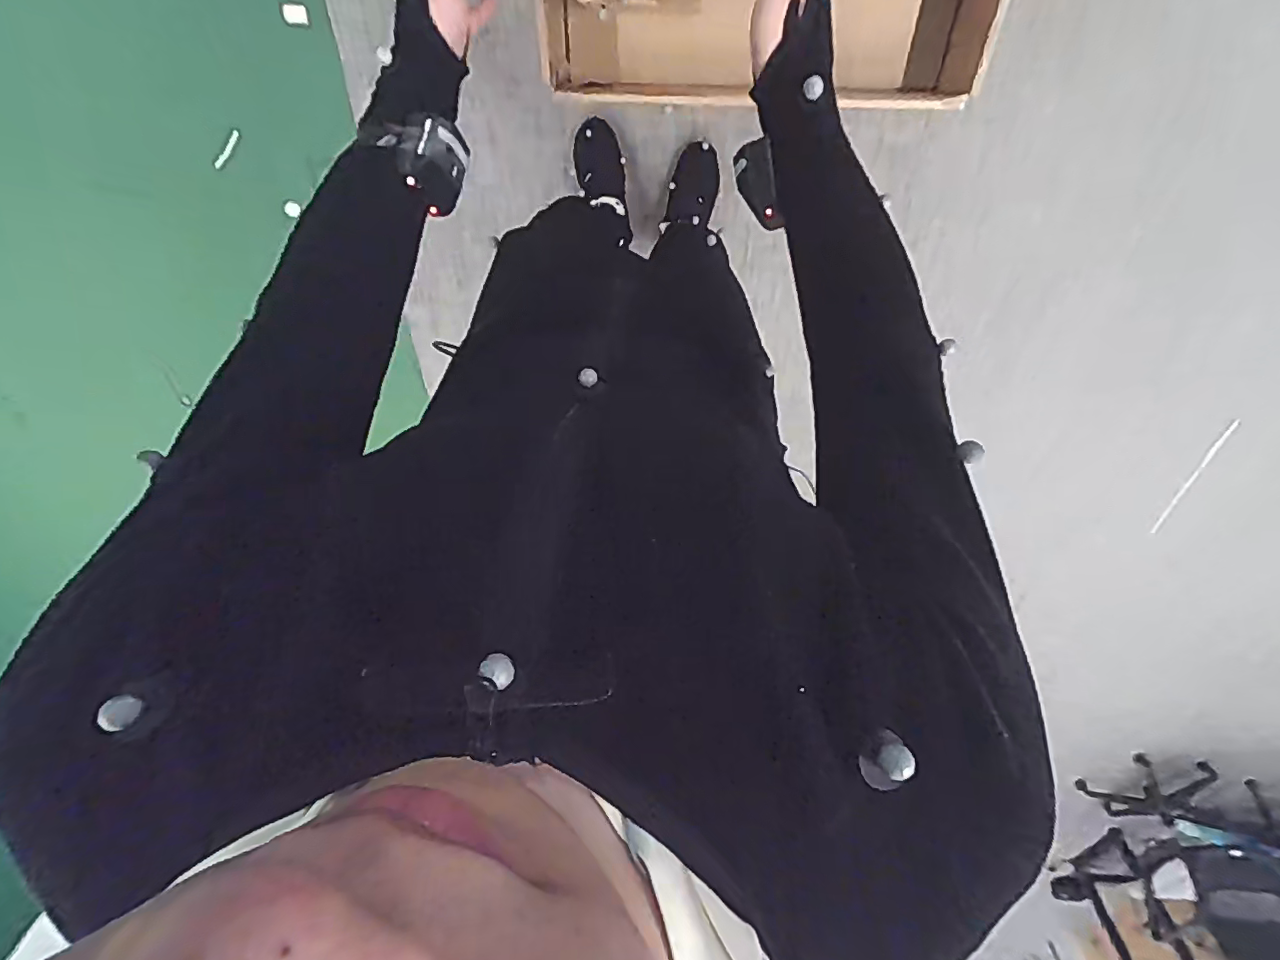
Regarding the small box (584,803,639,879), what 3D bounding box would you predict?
[{"bbox_3d":[-0.091,1.219,1.827,0.168,0.176,0.179,-1,127,3],"label":"small box"}]
